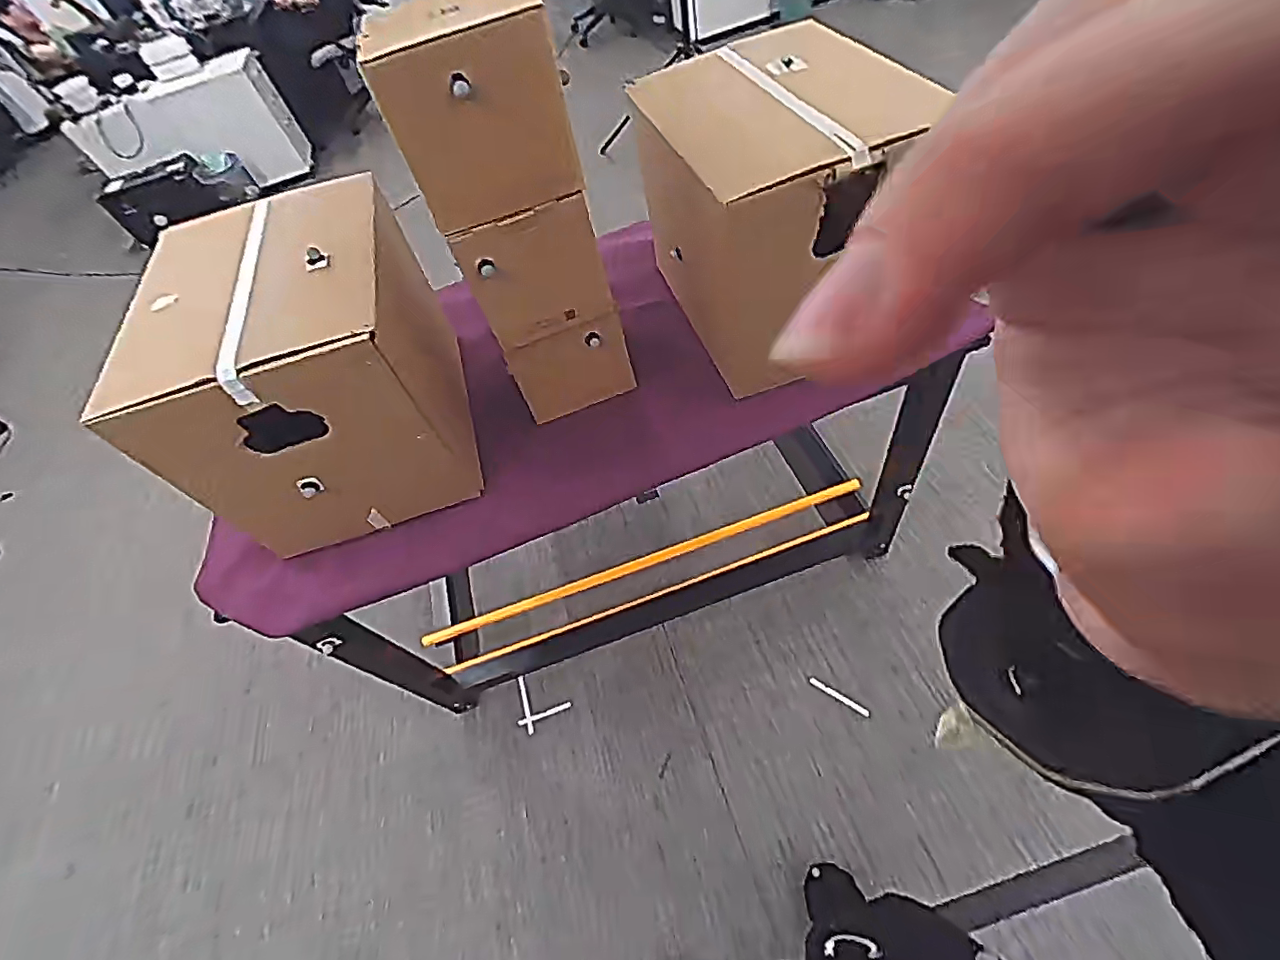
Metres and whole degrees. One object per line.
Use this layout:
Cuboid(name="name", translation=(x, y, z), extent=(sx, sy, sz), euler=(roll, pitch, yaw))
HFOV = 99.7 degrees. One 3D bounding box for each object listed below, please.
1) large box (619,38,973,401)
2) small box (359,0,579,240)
Cuboid(name="large box", translation=(0.200, -0.397, 0.828), extent=(0.320, 0.320, 0.408), euler=(-20, 52, -2))
Cuboid(name="small box", translation=(-0.176, -0.401, 0.594), extent=(0.179, 0.176, 0.168), euler=(-20, 54, -1))
